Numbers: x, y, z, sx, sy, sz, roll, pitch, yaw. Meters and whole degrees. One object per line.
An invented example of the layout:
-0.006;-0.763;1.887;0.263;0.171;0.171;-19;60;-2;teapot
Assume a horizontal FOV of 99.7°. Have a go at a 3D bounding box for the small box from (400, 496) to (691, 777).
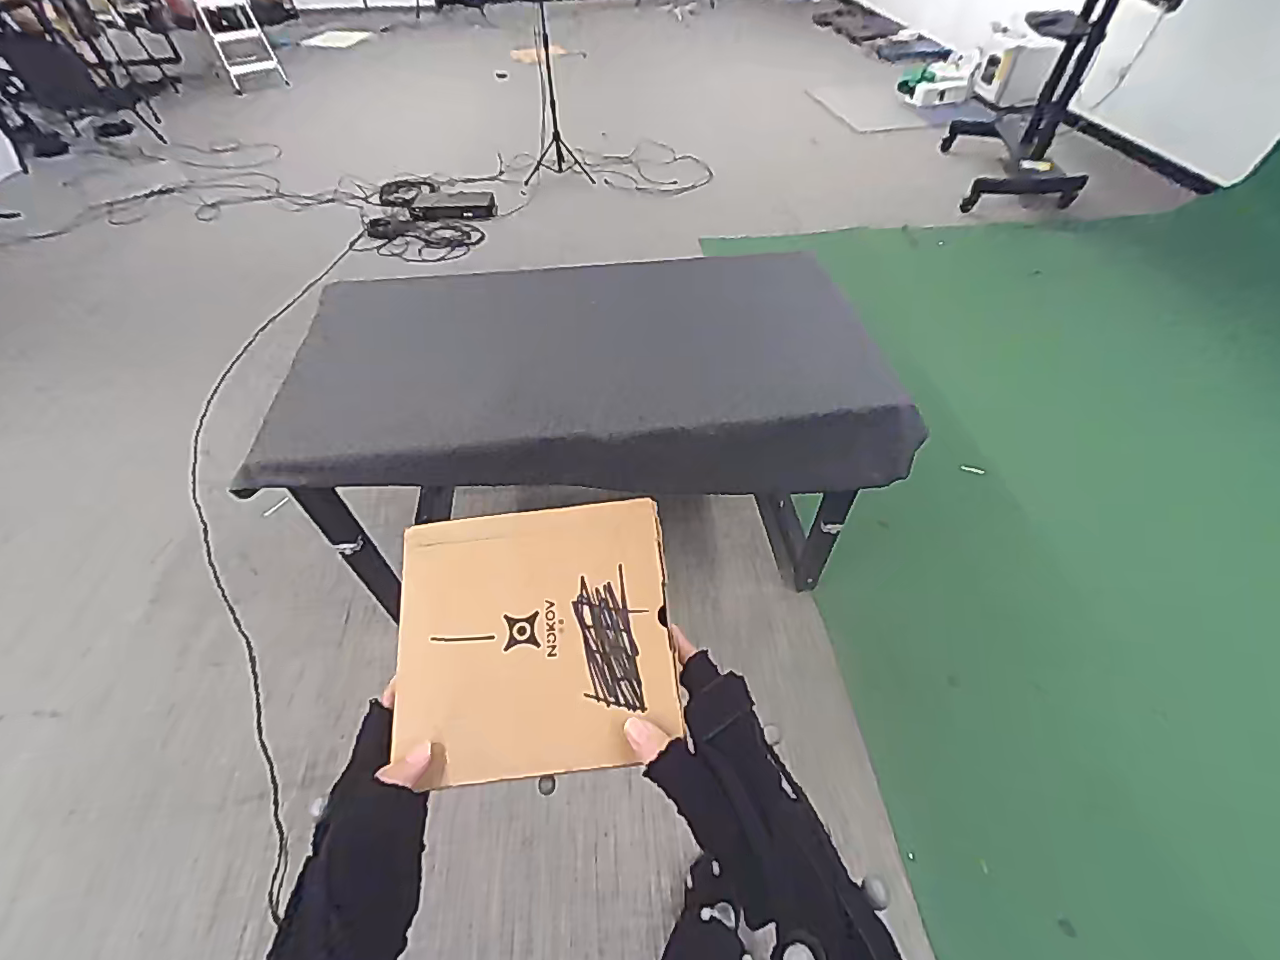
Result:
-0.063;0.124;0.425;0.179;0.176;0.168;-6;66;-2;small box
